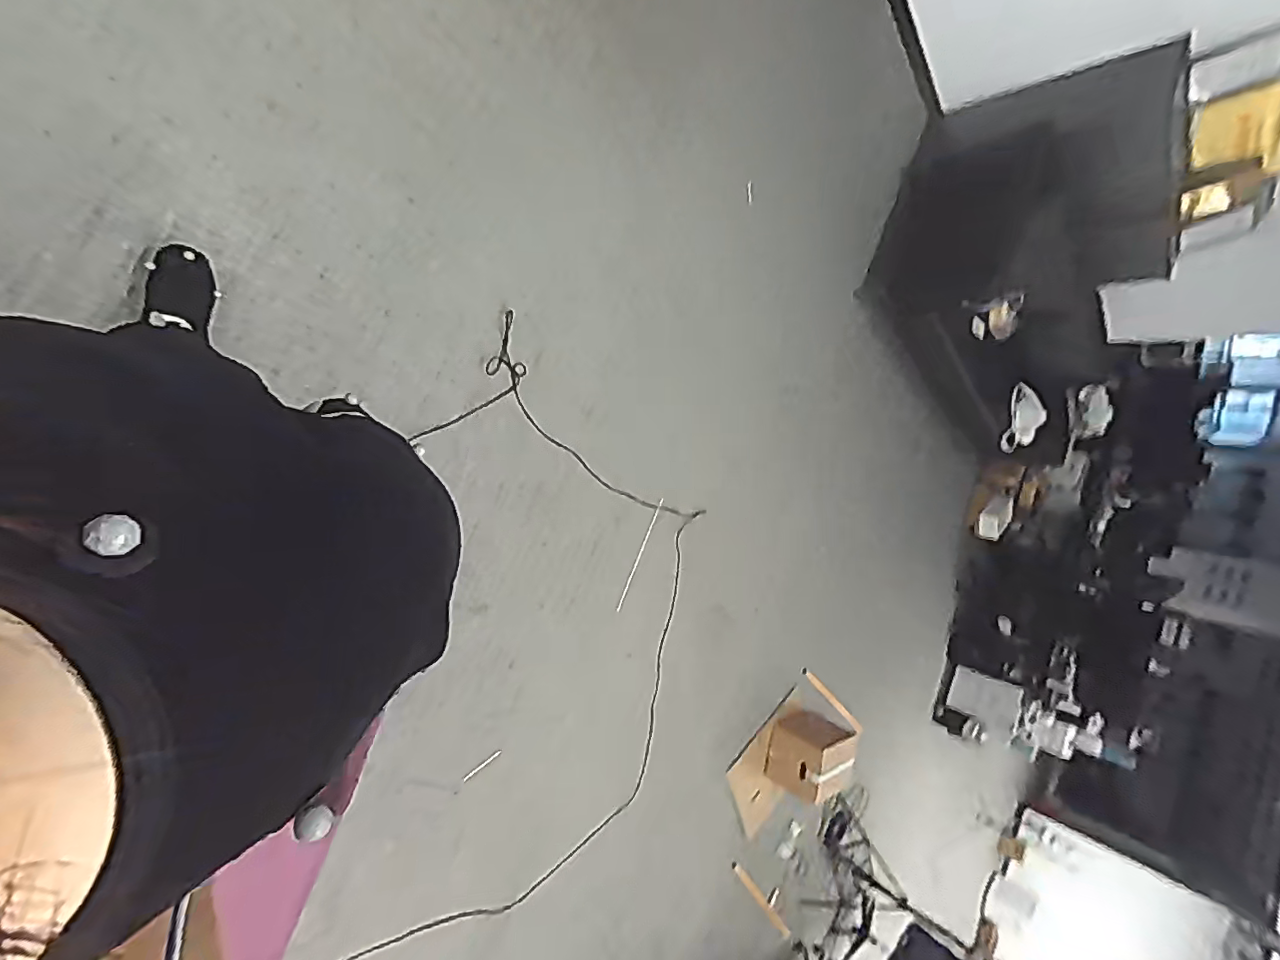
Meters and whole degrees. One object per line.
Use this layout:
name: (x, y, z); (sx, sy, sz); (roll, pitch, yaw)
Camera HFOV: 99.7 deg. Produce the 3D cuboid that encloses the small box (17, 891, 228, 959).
small box: (-0.566, 0.583, 0.574); (0.179, 0.176, 0.168); (24, 83, -41)
